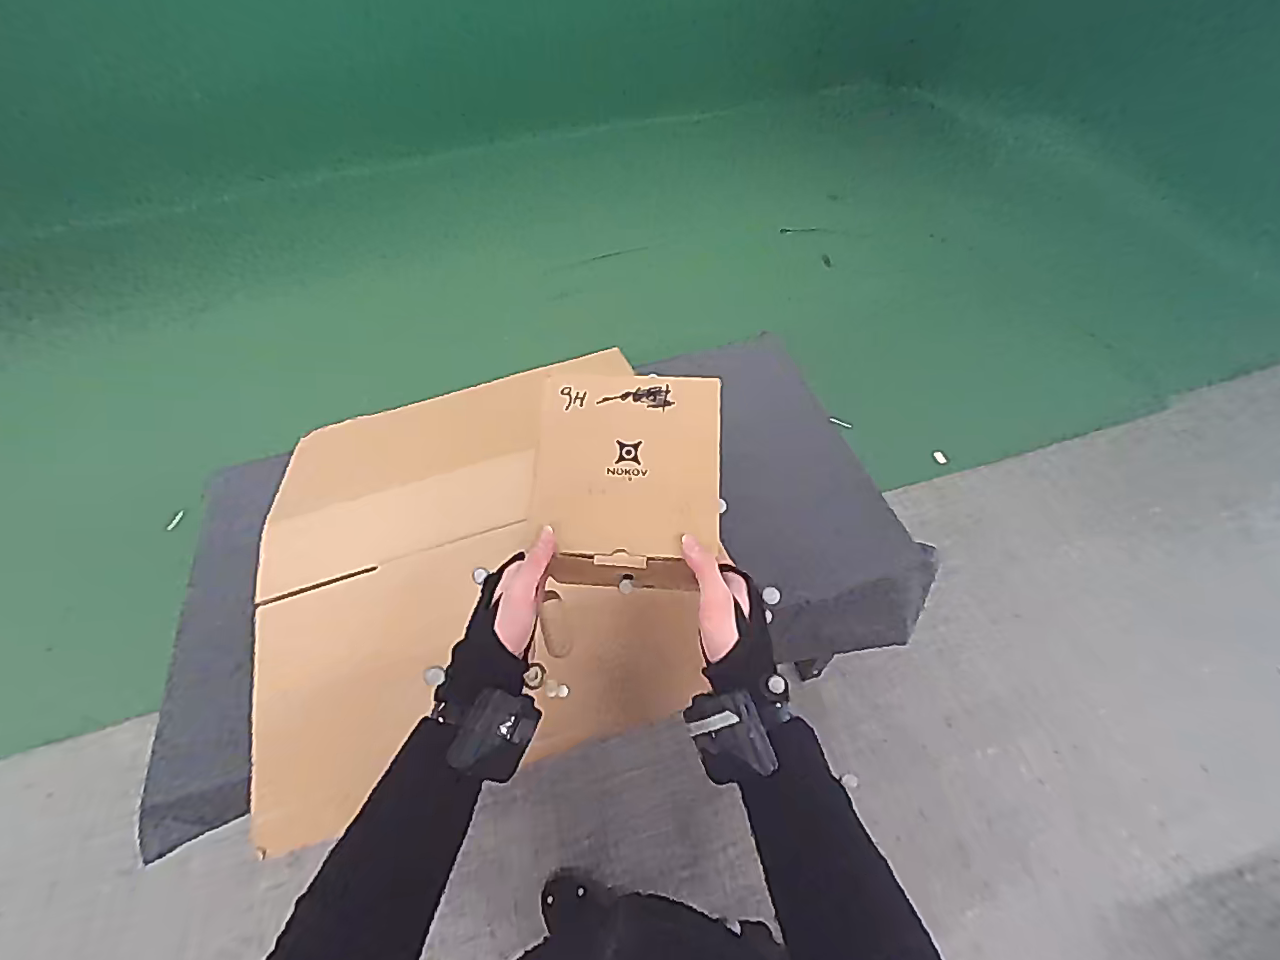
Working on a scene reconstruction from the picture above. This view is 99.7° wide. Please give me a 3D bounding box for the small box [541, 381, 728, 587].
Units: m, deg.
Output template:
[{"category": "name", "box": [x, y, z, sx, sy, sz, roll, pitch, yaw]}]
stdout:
[{"category": "small box", "box": [0.003, 0.014, 0.566, 0.168, 0.176, 0.179, 0, 70, 3]}]
